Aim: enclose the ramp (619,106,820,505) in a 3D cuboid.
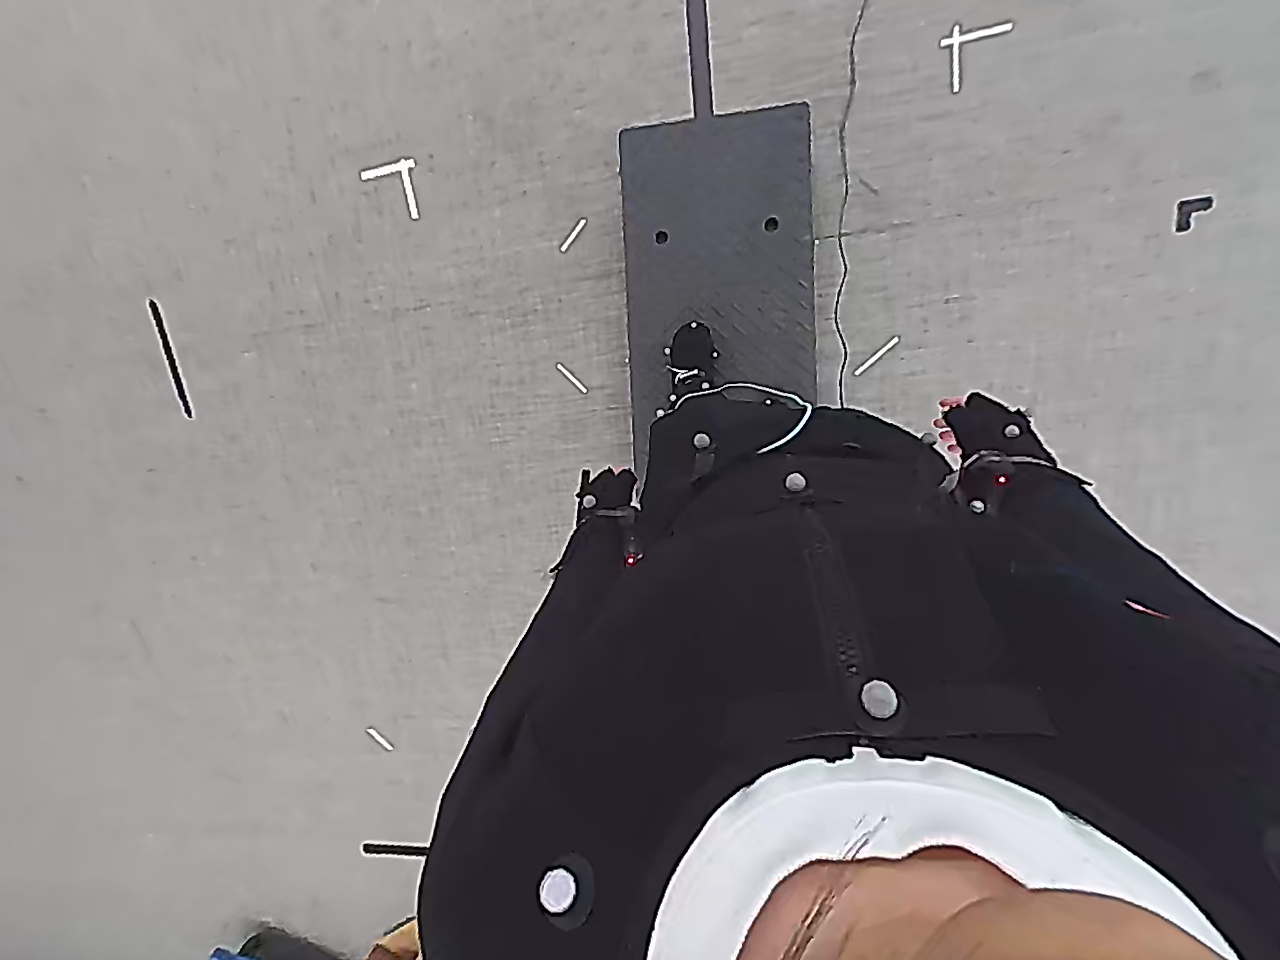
[{"bbox_3d":[0.203,-0.435,1.425,0.509,0.206,0.991,-4,102,11],"label":"ramp"}]
